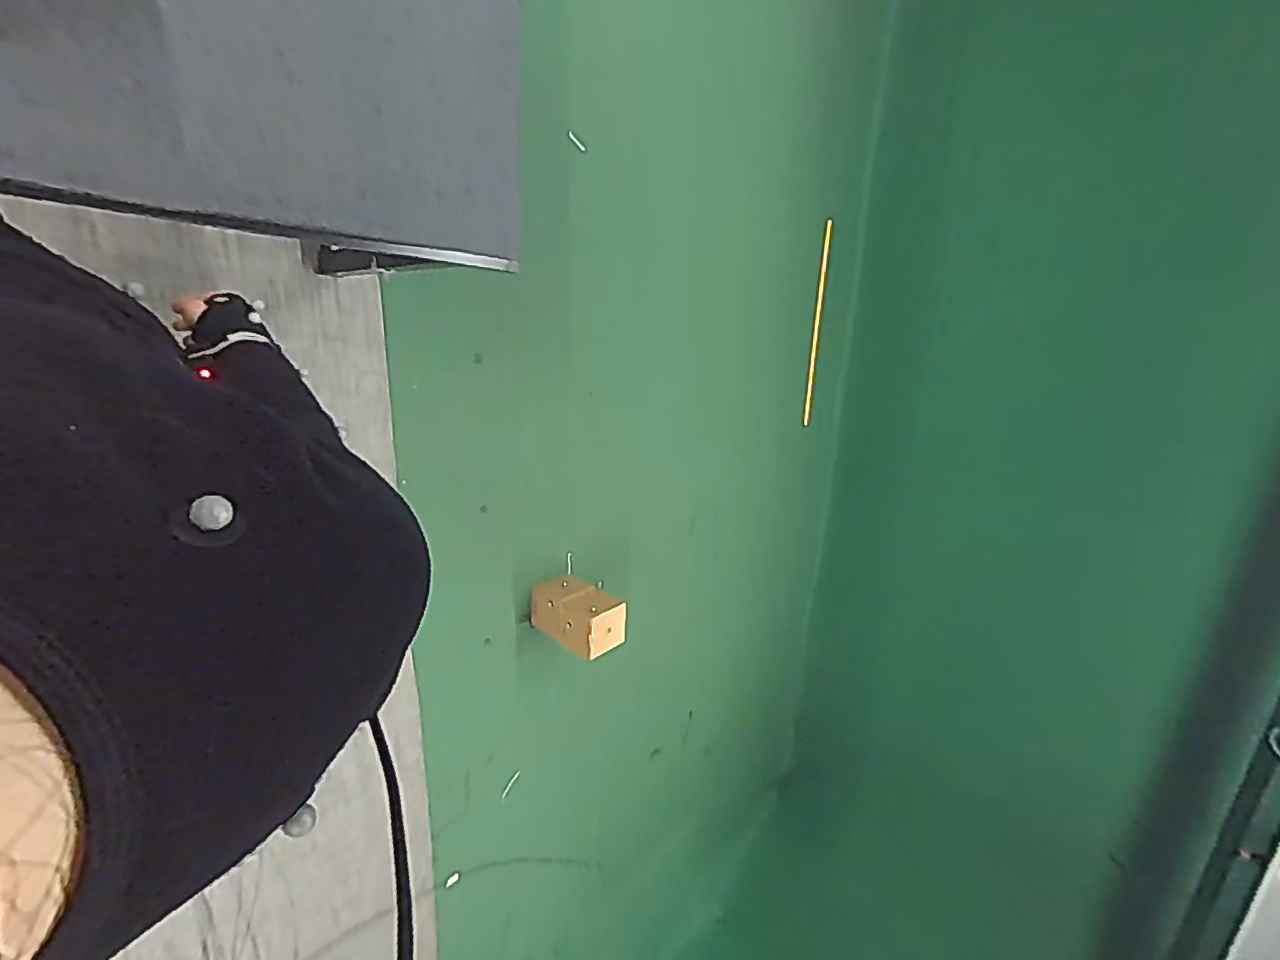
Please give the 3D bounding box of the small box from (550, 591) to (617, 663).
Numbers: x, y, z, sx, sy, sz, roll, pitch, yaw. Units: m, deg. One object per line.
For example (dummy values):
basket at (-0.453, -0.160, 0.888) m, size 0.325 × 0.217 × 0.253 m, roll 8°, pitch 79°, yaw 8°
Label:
small box at (-0.205, 0.523, 1.956) m, size 0.179 × 0.176 × 0.168 m, roll -14°, pitch 113°, yaw -48°
